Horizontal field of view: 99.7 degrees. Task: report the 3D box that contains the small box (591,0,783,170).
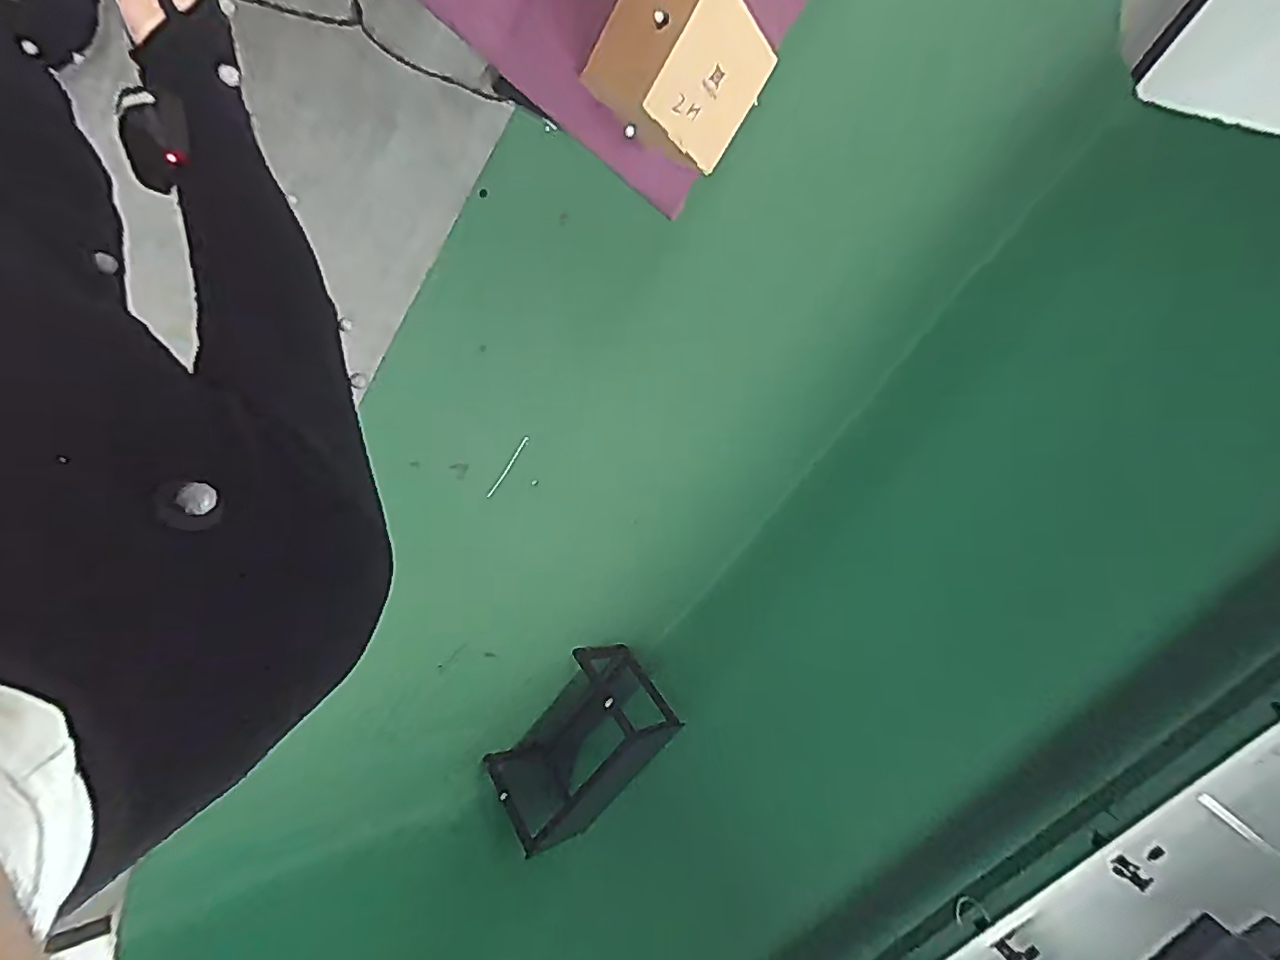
[{"bbox_3d":[0.060,-0.589,0.763,0.168,0.176,0.179,12,120,-50],"label":"small box"}]
